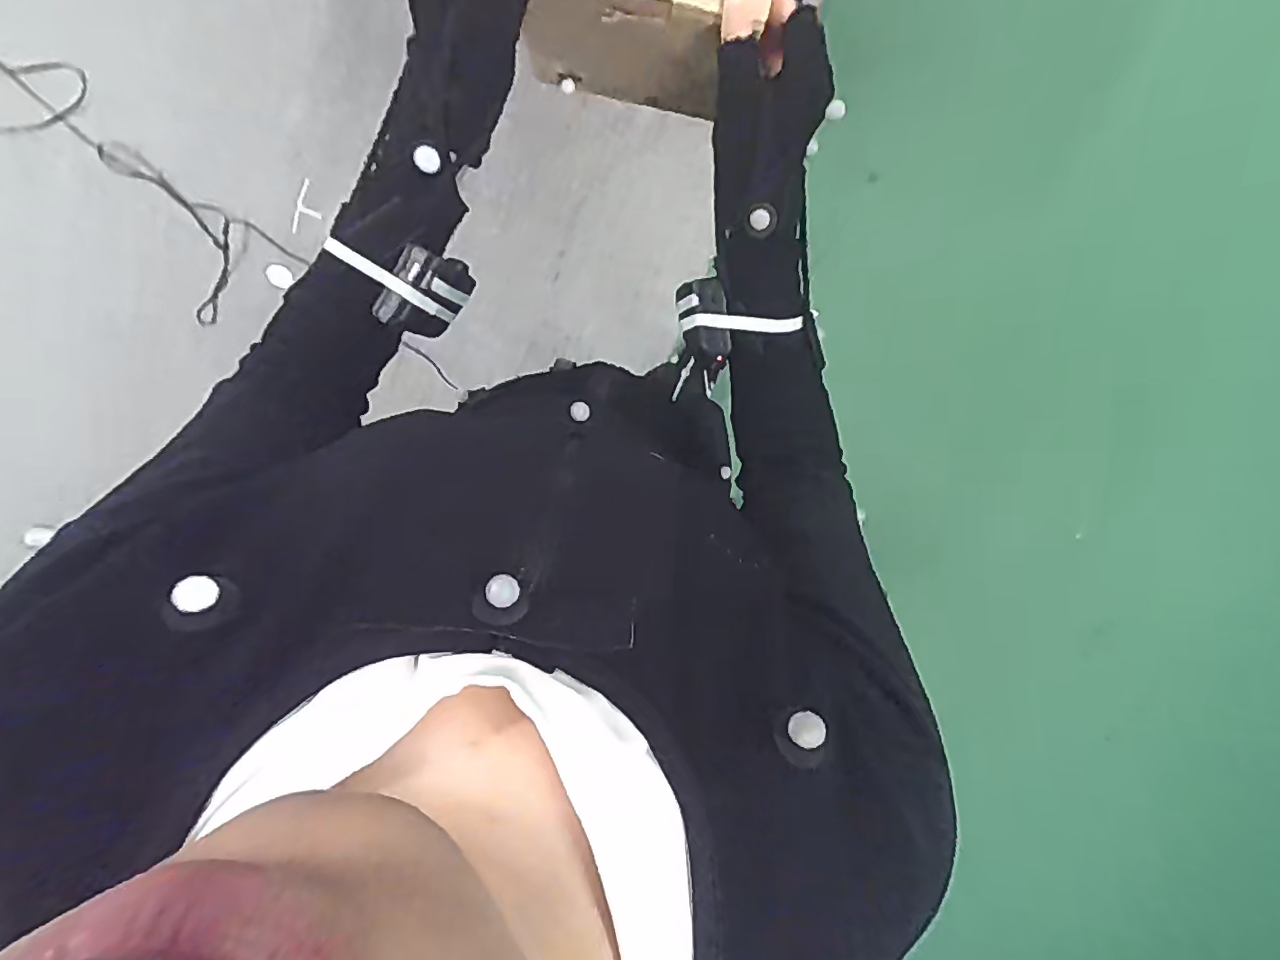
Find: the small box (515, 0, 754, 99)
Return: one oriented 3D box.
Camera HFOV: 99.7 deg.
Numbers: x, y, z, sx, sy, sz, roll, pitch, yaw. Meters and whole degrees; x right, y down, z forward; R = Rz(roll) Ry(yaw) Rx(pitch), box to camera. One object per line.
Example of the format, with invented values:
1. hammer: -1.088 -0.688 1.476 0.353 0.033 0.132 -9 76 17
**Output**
1. small box: 0.004 -0.407 0.382 0.168 0.176 0.179 8 105 -6
